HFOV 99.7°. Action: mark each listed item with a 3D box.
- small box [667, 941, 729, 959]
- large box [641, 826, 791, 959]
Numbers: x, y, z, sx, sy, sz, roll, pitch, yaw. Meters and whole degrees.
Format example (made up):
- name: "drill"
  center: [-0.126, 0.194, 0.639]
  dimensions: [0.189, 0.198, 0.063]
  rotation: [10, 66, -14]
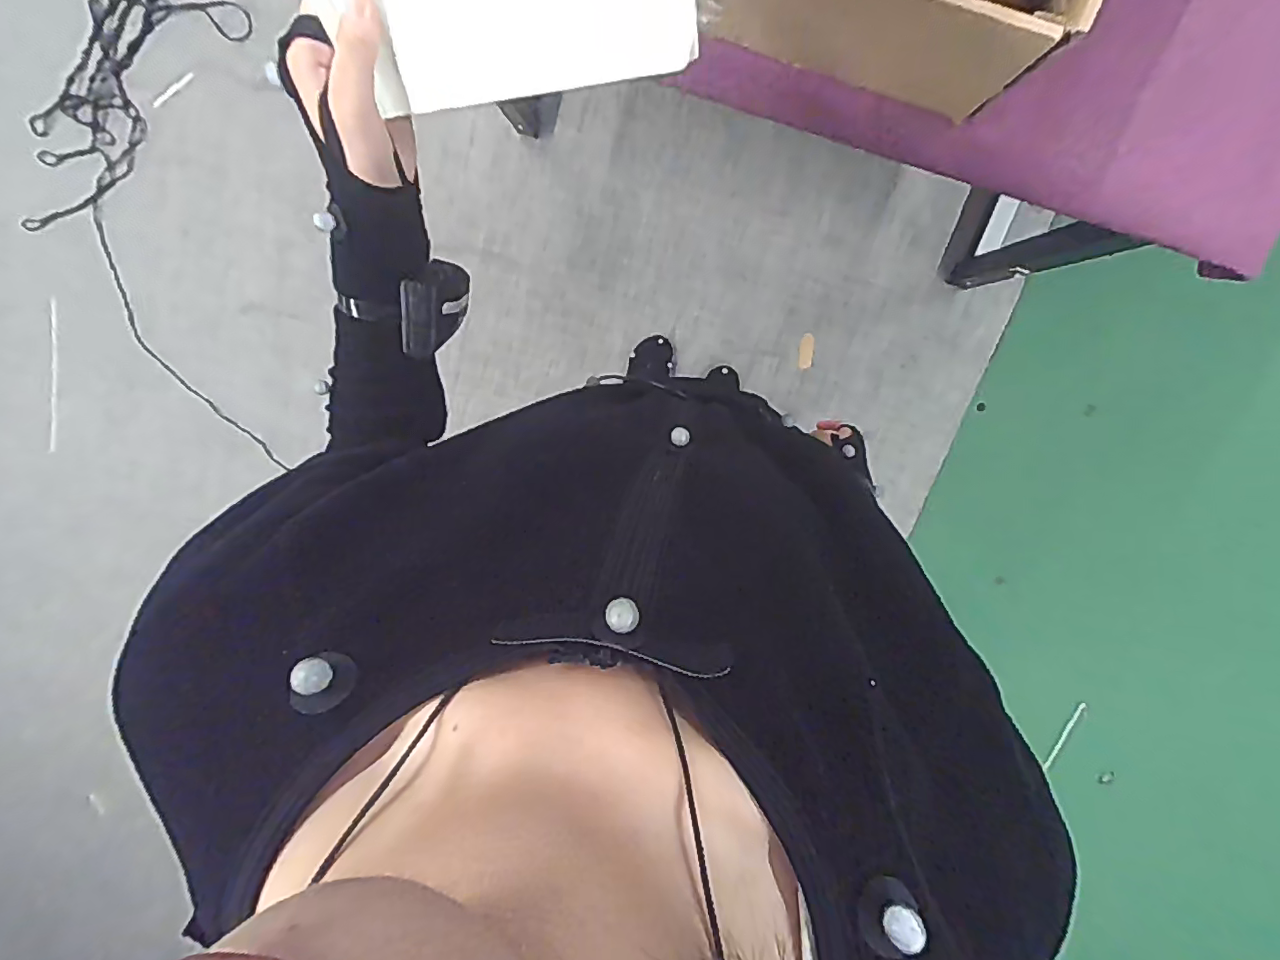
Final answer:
- name: "small box"
  center: [0.147, 1.342, 1.390]
  dimensions: [0.168, 0.176, 0.179]
  rotation: [5, 102, 4]
- name: "large box"
  center: [0.210, 1.307, 1.628]
  dimensions: [0.408, 0.320, 0.320]
  rotation: [4, 103, 3]
